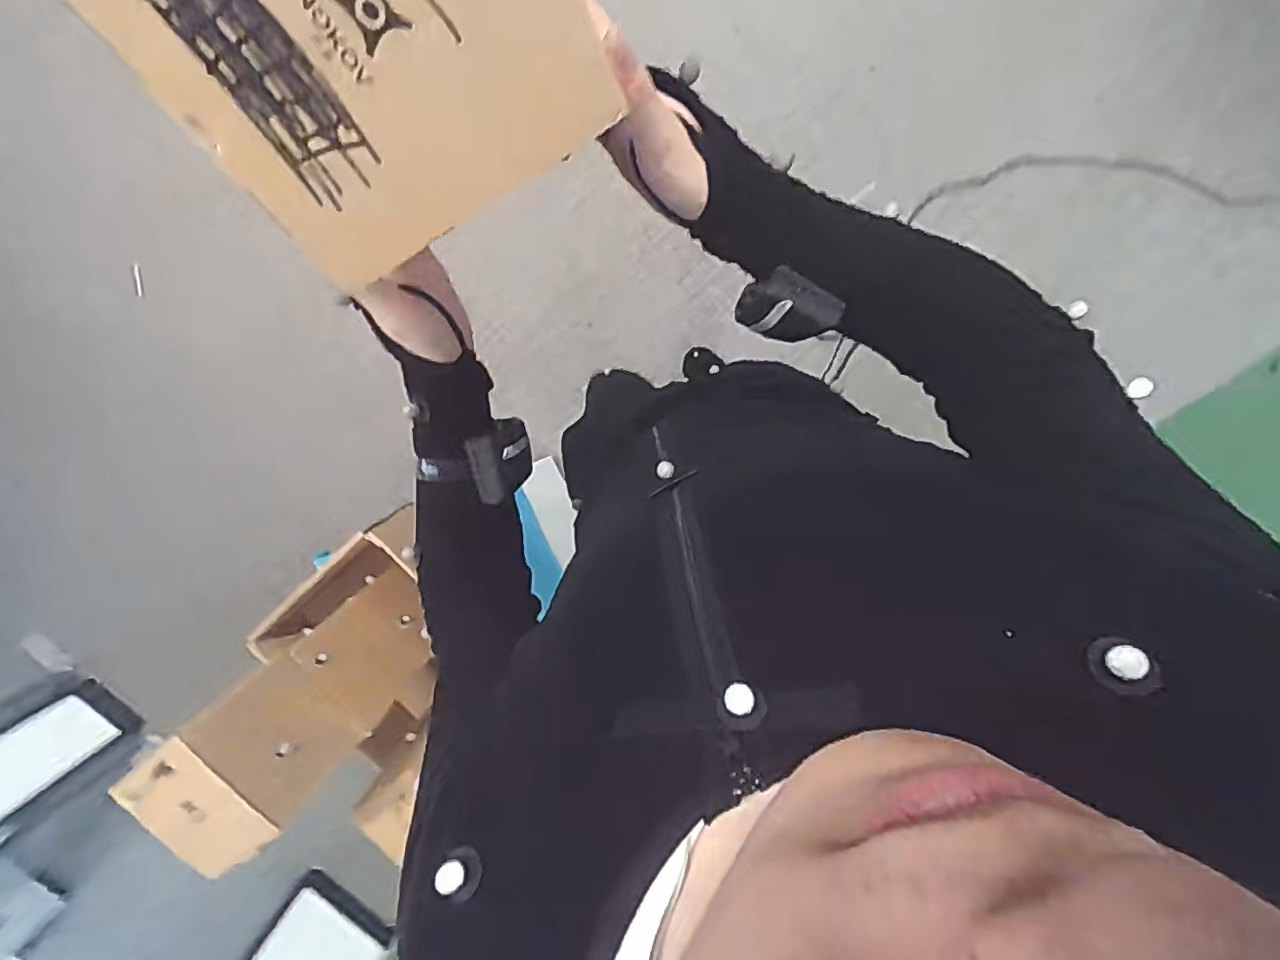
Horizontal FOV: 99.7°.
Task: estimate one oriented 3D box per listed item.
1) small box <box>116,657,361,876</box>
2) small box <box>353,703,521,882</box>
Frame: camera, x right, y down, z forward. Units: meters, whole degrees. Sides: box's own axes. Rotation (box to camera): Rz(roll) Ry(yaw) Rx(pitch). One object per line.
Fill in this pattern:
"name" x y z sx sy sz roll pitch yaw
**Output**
"small box" -0.534 0.384 0.746 0.168 0.176 0.179 -37 100 16
"small box" -0.336 0.528 0.931 0.168 0.176 0.179 -39 97 17
